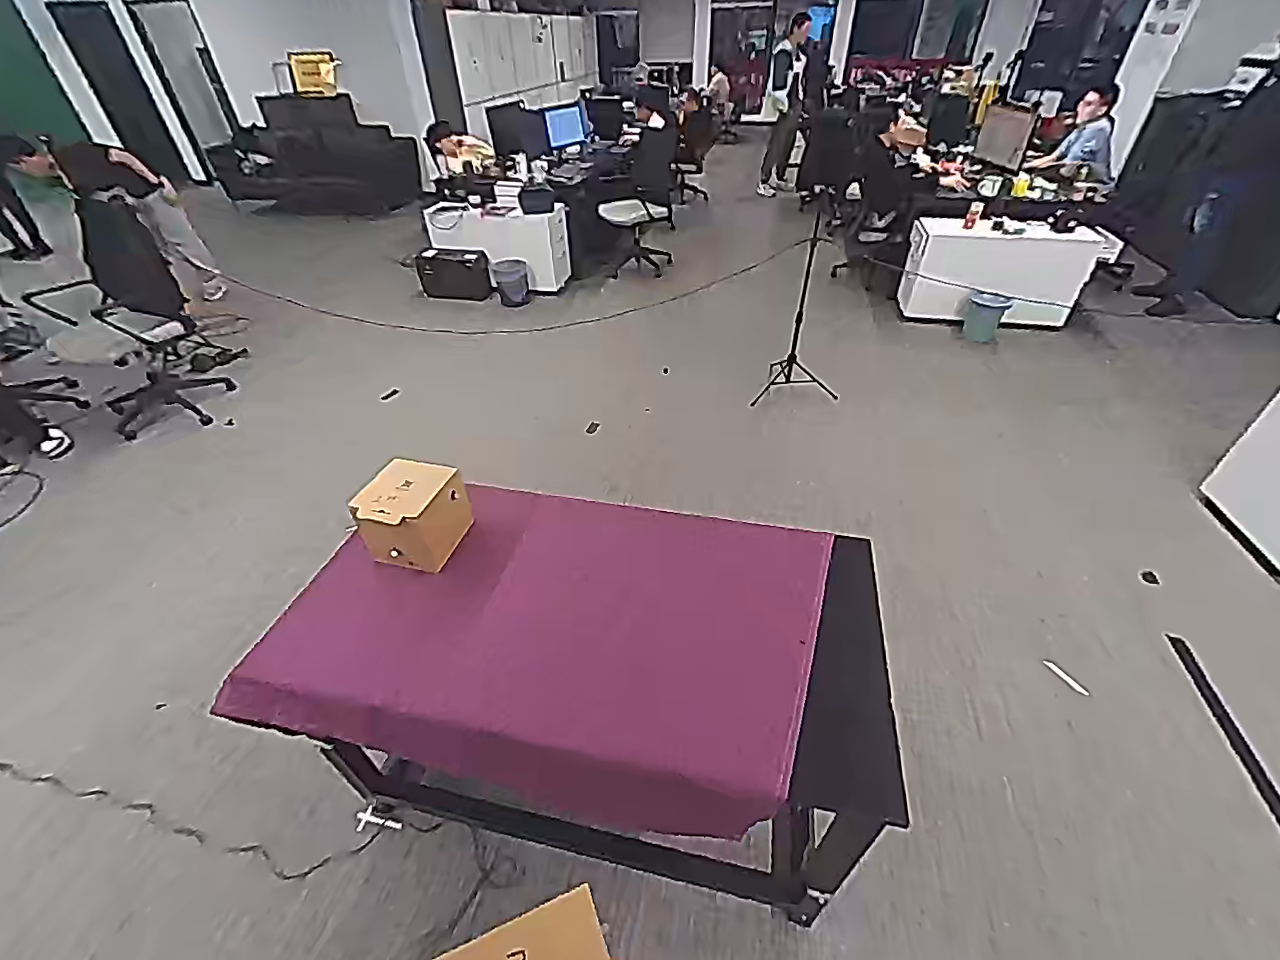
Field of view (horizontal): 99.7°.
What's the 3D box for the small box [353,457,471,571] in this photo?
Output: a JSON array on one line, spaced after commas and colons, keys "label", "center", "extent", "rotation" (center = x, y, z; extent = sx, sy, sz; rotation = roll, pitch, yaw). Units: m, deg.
[{"label": "small box", "center": [-0.501, 0.075, 1.223], "extent": [0.168, 0.176, 0.179], "rotation": [9, 41, 12]}]
